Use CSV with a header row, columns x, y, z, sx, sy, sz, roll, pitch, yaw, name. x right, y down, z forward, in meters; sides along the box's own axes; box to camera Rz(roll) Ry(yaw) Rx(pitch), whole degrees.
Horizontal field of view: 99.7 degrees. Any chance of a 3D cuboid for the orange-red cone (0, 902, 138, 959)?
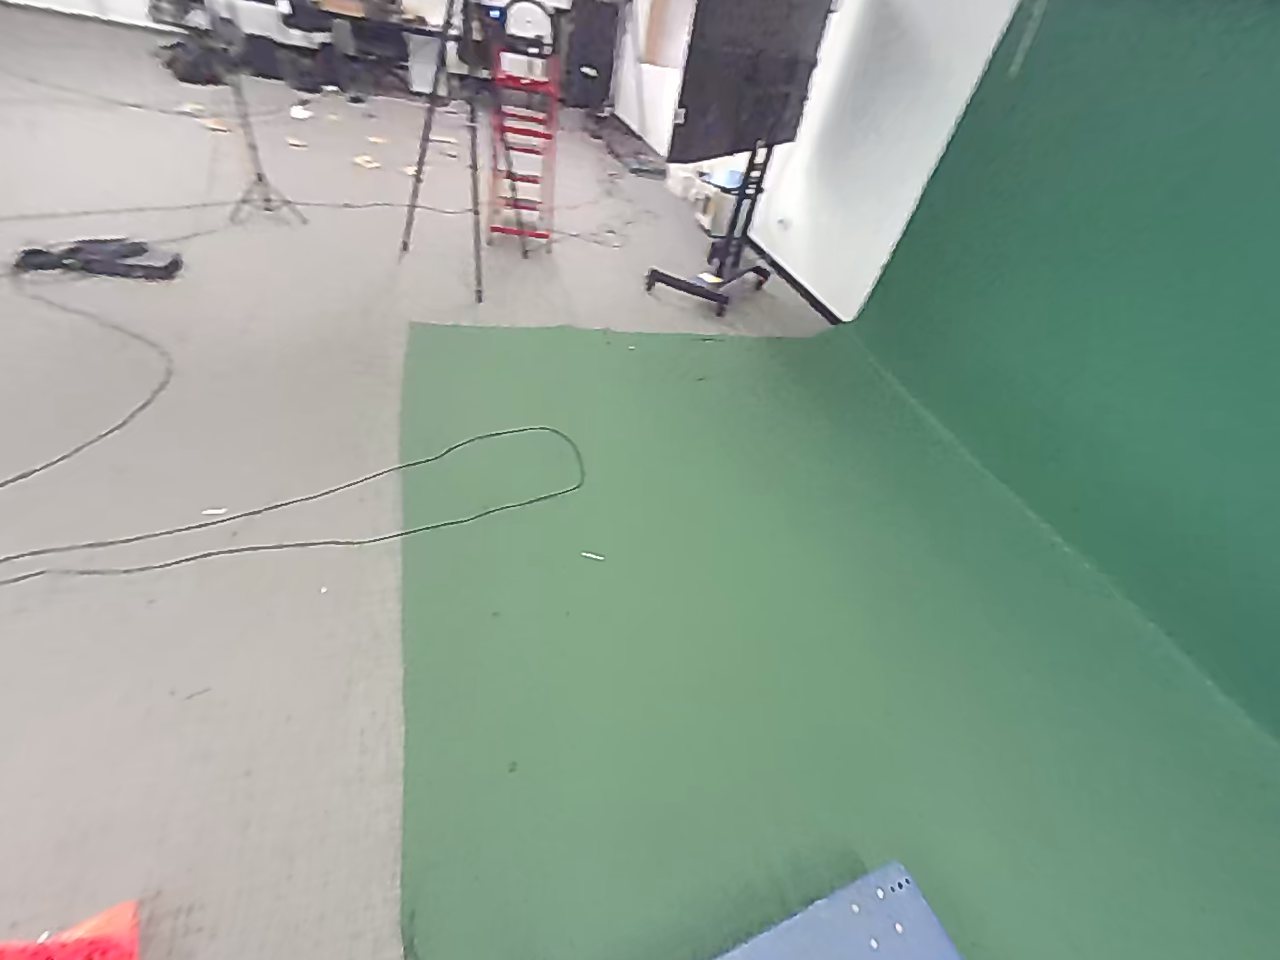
x,y,z,sx,sy,sz,roll,pitch,yaw,name
-1.087,0.862,0.953,0.198,0.360,0.199,-16,49,-30,orange-red cone
